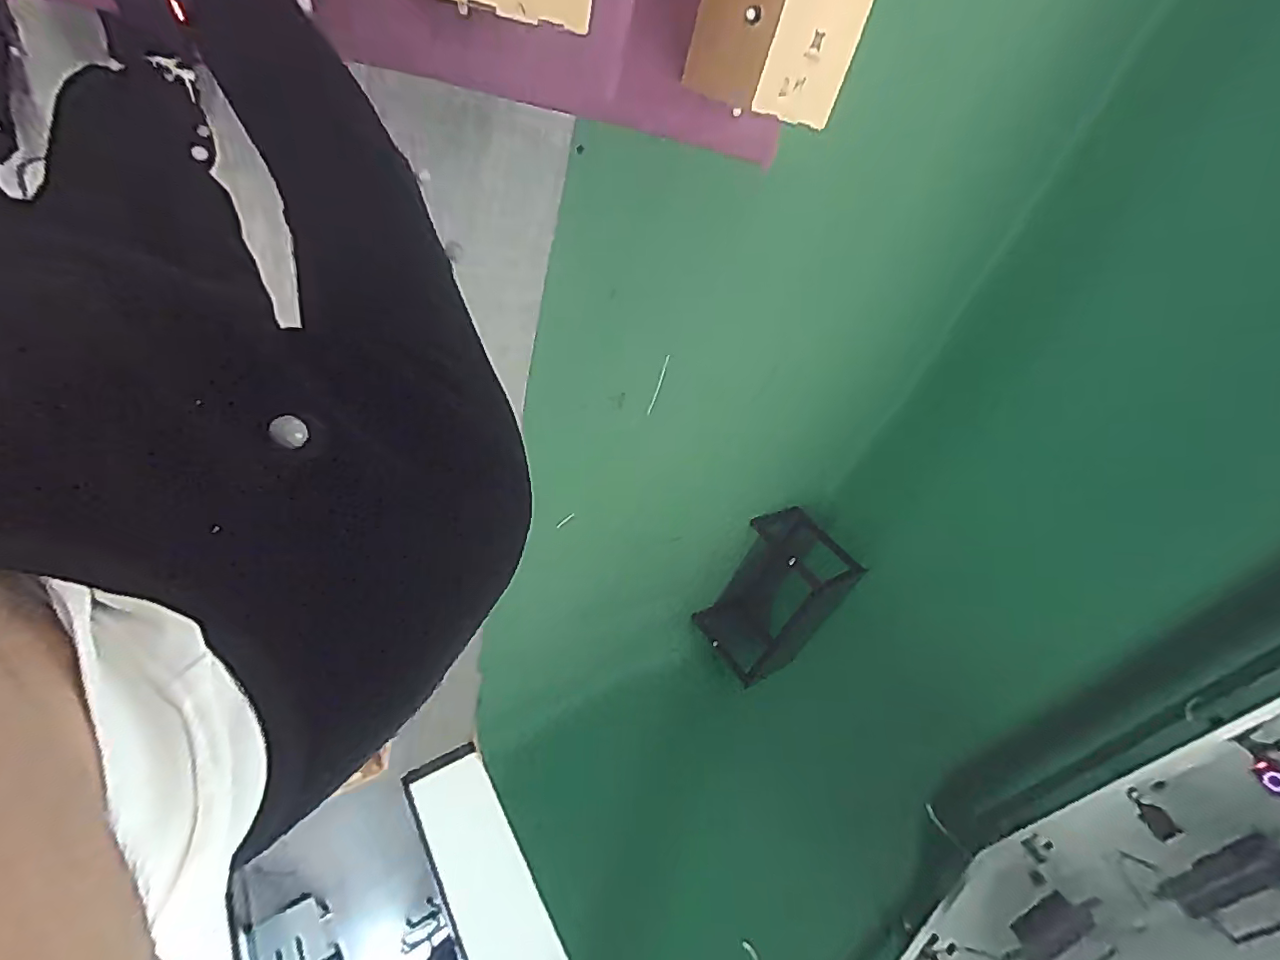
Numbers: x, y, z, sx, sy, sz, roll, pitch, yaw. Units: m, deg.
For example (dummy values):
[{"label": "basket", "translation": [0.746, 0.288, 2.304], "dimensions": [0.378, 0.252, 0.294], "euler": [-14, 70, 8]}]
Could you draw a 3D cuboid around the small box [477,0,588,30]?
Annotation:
[{"label": "small box", "translation": [-0.150, -0.578, 0.522], "dimensions": [0.168, 0.176, 0.179], "euler": [-16, 140, -34]}]

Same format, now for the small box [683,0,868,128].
[{"label": "small box", "translation": [0.187, -0.646, 0.782], "dimensions": [0.168, 0.176, 0.179], "euler": [-12, 137, -35]}]
